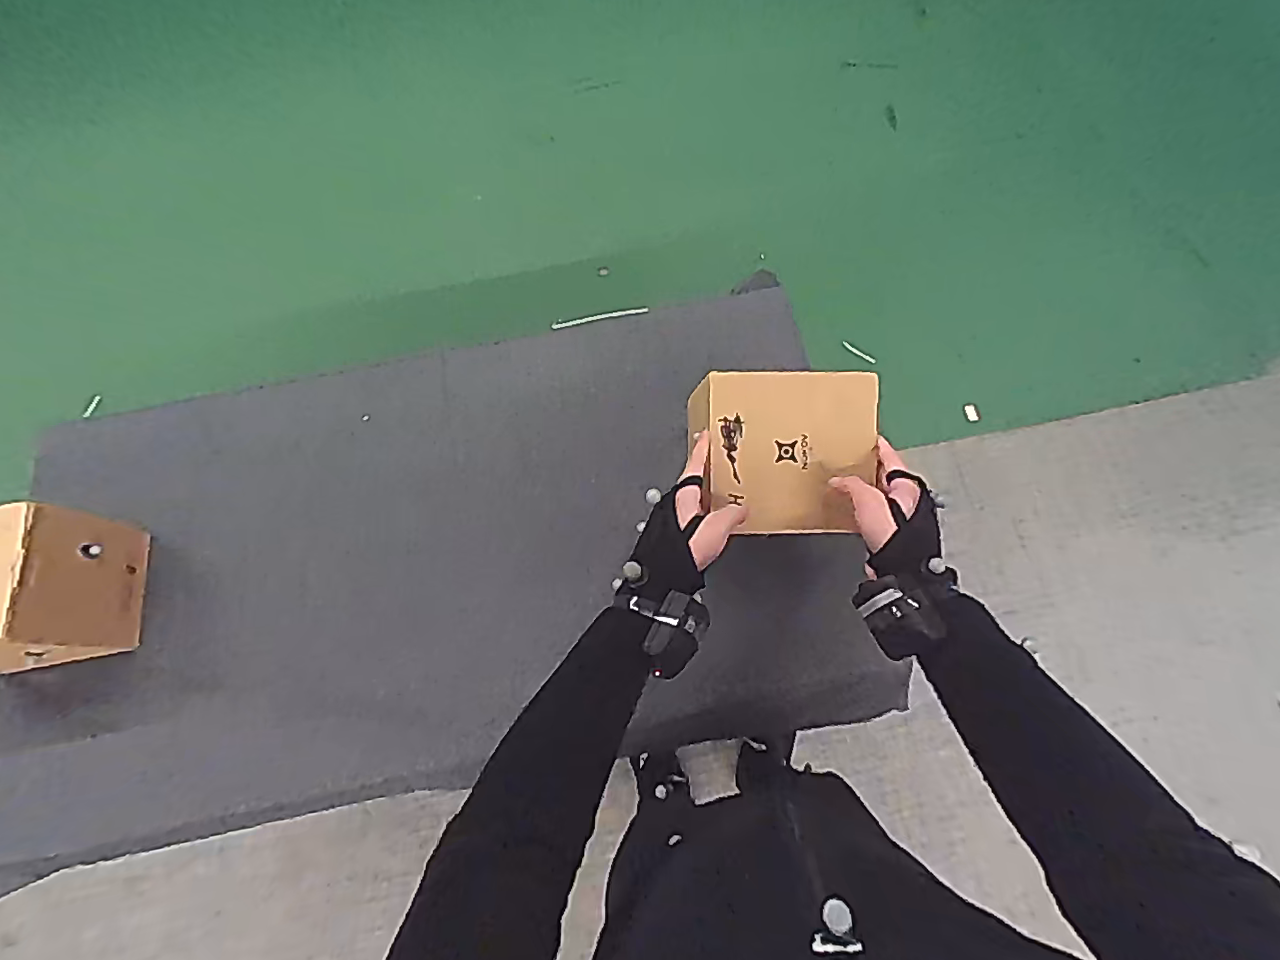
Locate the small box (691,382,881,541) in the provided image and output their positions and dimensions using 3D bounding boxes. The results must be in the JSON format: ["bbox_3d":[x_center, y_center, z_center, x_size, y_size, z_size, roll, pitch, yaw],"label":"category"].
[{"bbox_3d":[0.159,-0.019,0.636,0.179,0.176,0.168,-1,90,-2],"label":"small box"}]

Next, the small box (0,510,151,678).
[{"bbox_3d":[-0.776,0.150,0.677,0.179,0.176,0.168,-9,68,-2],"label":"small box"}]
